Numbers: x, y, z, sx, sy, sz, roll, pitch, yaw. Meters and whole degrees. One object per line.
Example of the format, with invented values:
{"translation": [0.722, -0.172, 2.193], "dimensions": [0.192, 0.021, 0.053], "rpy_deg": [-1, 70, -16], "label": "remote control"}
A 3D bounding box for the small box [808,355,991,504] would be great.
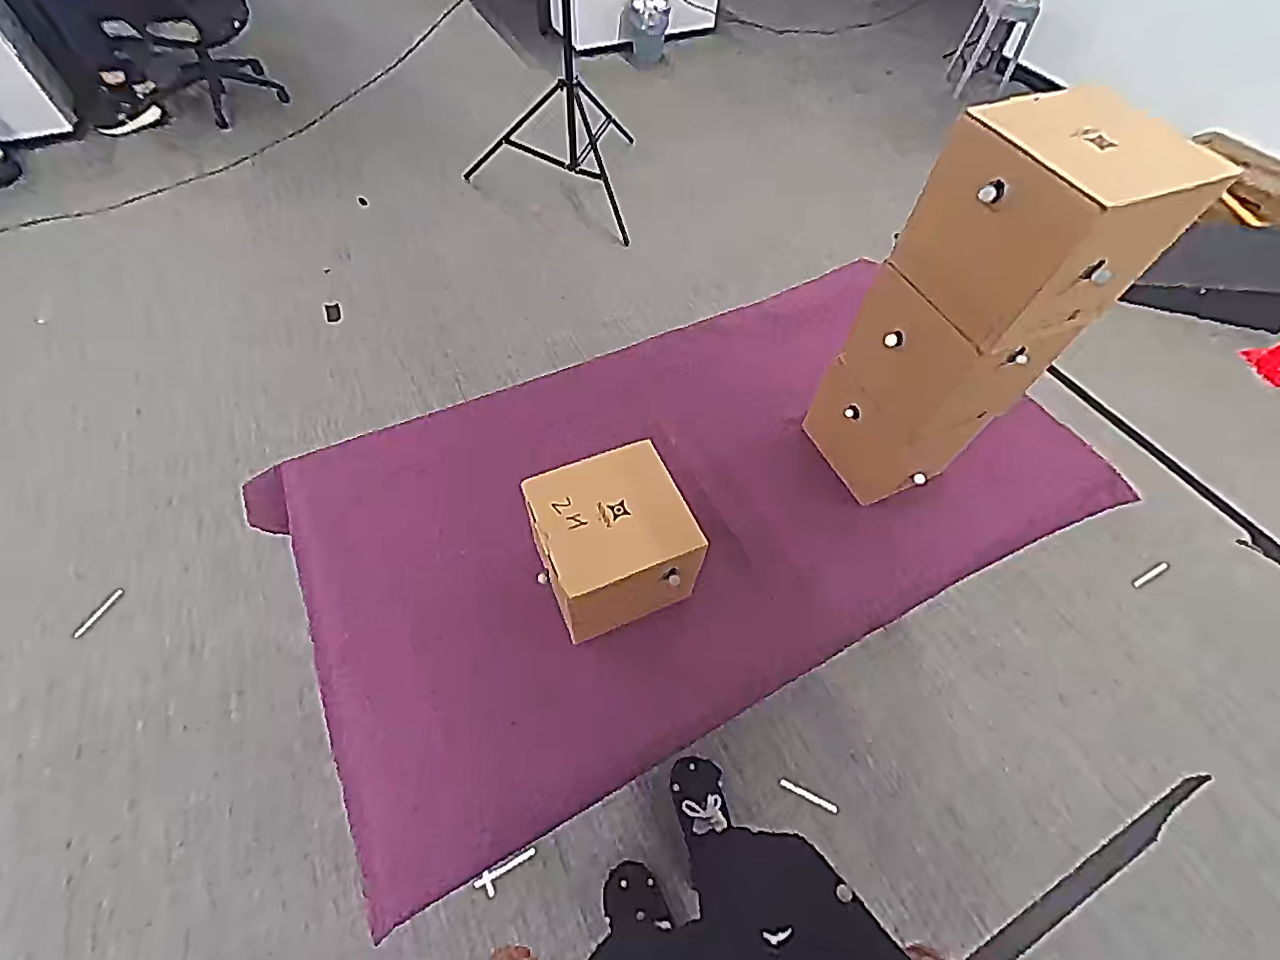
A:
{"translation": [0.389, -0.093, 0.836], "dimensions": [0.168, 0.176, 0.179], "rpy_deg": [-20, 61, -14], "label": "small box"}

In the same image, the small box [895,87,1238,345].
{"translation": [0.407, -0.260, 0.555], "dimensions": [0.168, 0.176, 0.179], "rpy_deg": [-19, 60, -13], "label": "small box"}

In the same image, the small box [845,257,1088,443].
{"translation": [0.398, -0.178, 0.696], "dimensions": [0.168, 0.176, 0.179], "rpy_deg": [-19, 59, -13], "label": "small box"}

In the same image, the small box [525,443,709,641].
{"translation": [-0.034, 0.084, 0.703], "dimensions": [0.179, 0.176, 0.168], "rpy_deg": [-20, 60, -14], "label": "small box"}
